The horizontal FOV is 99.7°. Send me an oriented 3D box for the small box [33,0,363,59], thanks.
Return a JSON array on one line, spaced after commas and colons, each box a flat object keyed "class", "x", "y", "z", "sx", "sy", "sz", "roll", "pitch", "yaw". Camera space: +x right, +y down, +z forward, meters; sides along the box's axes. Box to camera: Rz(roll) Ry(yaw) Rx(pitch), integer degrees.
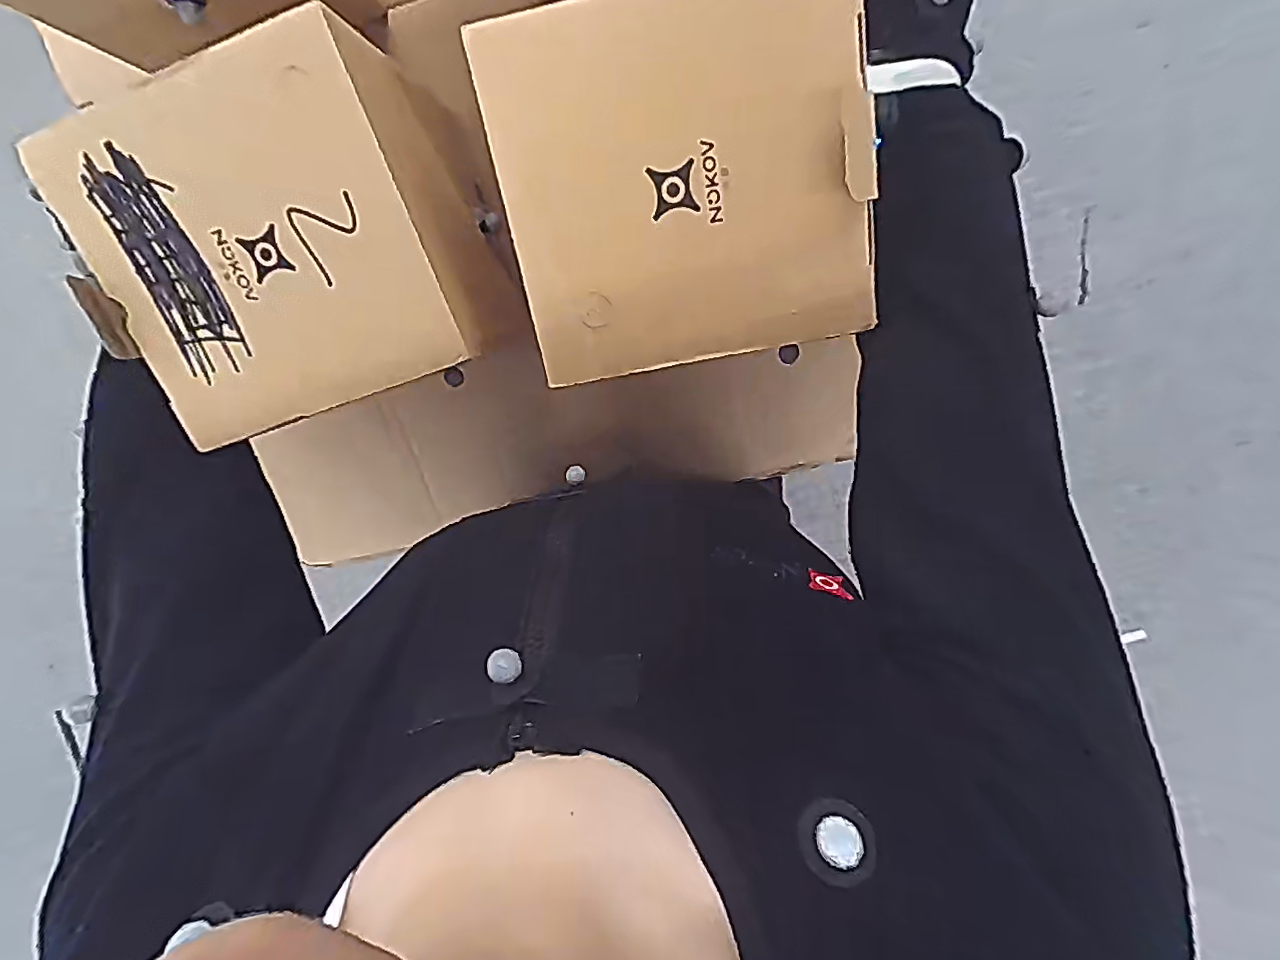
[{"class": "small box", "x": -0.285, "y": -0.368, "z": 0.289, "sx": 0.168, "sy": 0.176, "sz": 0.179, "roll": -13, "pitch": 105, "yaw": 7}]
